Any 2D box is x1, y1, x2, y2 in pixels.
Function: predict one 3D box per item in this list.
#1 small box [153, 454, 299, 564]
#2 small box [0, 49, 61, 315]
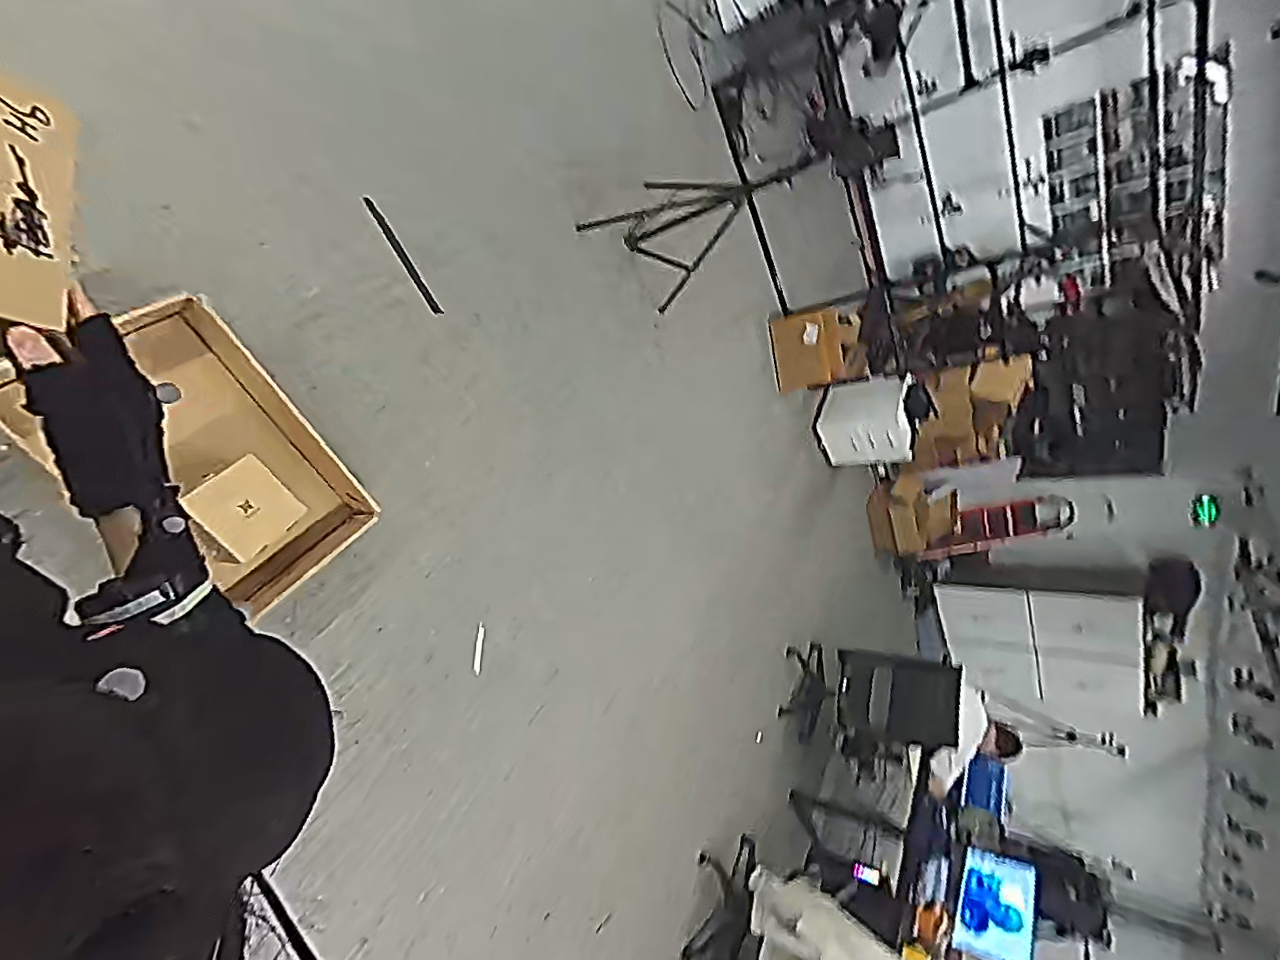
[{"bbox_3d":[-0.900,0.063,1.178,0.168,0.176,0.179,-54,125,-39],"label":"small box"},{"bbox_3d":[-0.488,-0.181,0.303,0.179,0.176,0.168,11,72,-67],"label":"small box"}]
